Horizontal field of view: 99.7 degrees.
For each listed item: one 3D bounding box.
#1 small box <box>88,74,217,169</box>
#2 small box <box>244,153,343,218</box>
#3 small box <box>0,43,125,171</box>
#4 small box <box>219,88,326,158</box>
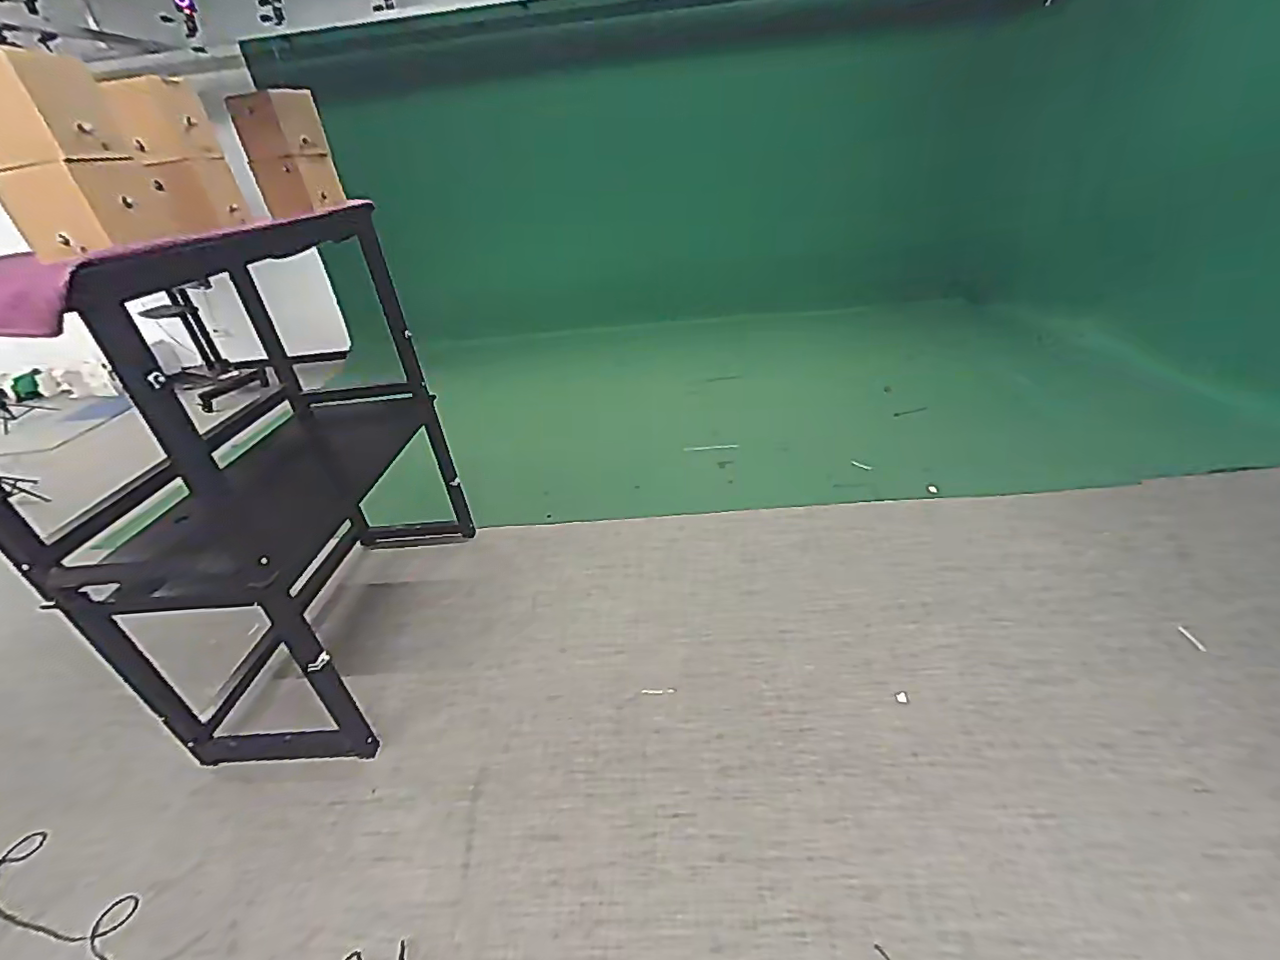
[{"bbox_3d":[-1.183,-0.860,1.303,0.179,0.176,0.168,-6,32,2],"label":"small box"},{"bbox_3d":[-1.104,-0.946,1.737,0.179,0.176,0.168,2,34,12],"label":"small box"},{"bbox_3d":[-1.133,-0.676,0.995,0.179,0.176,0.168,-7,32,1],"label":"small box"},{"bbox_3d":[-1.111,-1.082,1.649,0.179,0.176,0.168,5,36,14],"label":"small box"}]
